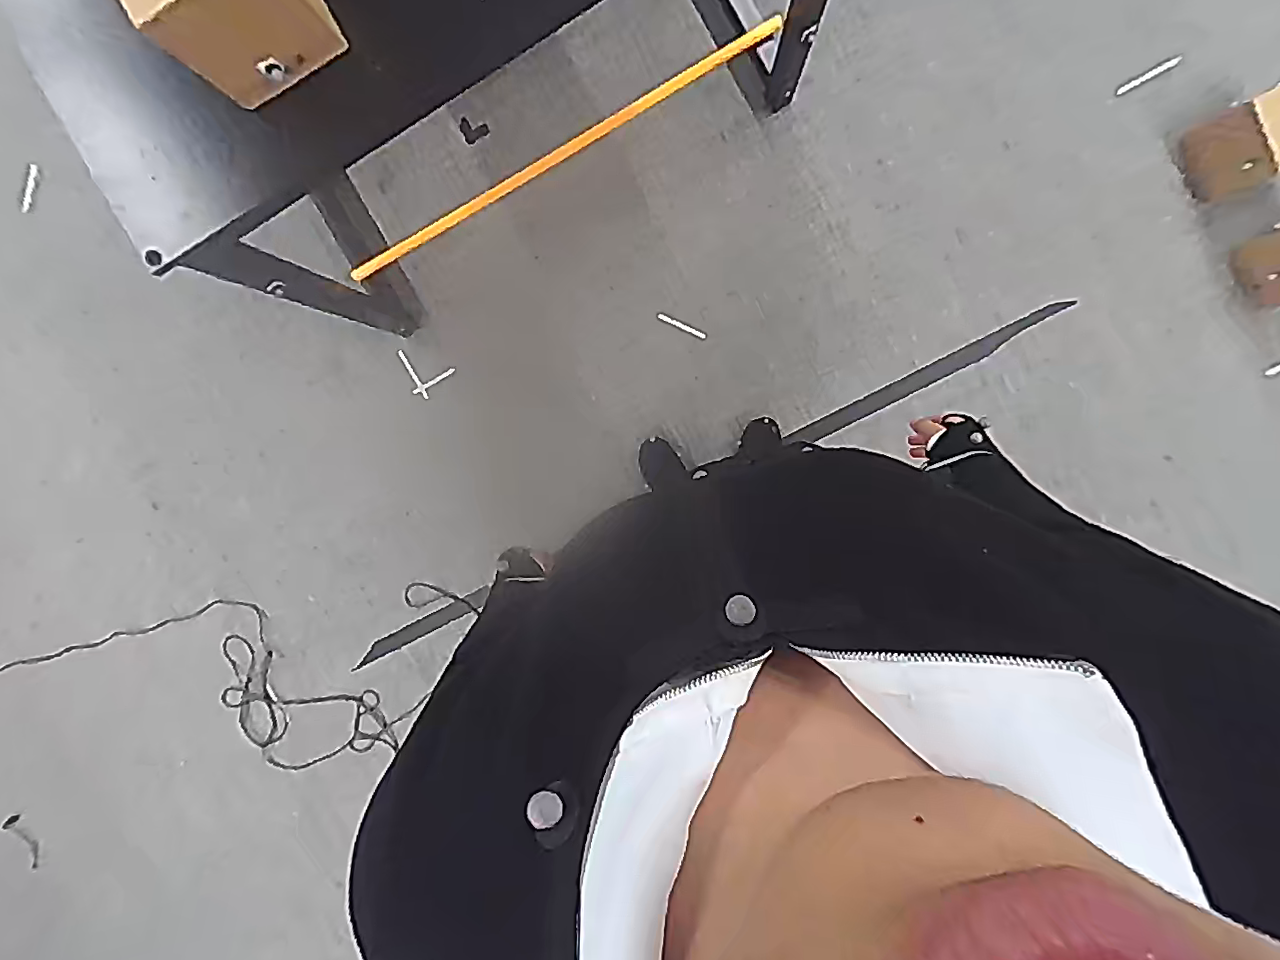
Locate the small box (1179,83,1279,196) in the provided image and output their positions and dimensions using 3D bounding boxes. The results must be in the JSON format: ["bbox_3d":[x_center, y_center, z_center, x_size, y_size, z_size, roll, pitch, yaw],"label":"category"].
[{"bbox_3d":[1.418,-0.785,1.241,0.168,0.176,0.179,-27,94,6],"label":"small box"}]

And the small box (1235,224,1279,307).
[{"bbox_3d":[1.569,-0.528,1.263,0.179,0.176,0.168,-31,94,7],"label":"small box"}]

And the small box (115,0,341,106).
[{"bbox_3d":[-0.506,-0.604,0.641,0.168,0.176,0.179,-28,94,7],"label":"small box"}]
